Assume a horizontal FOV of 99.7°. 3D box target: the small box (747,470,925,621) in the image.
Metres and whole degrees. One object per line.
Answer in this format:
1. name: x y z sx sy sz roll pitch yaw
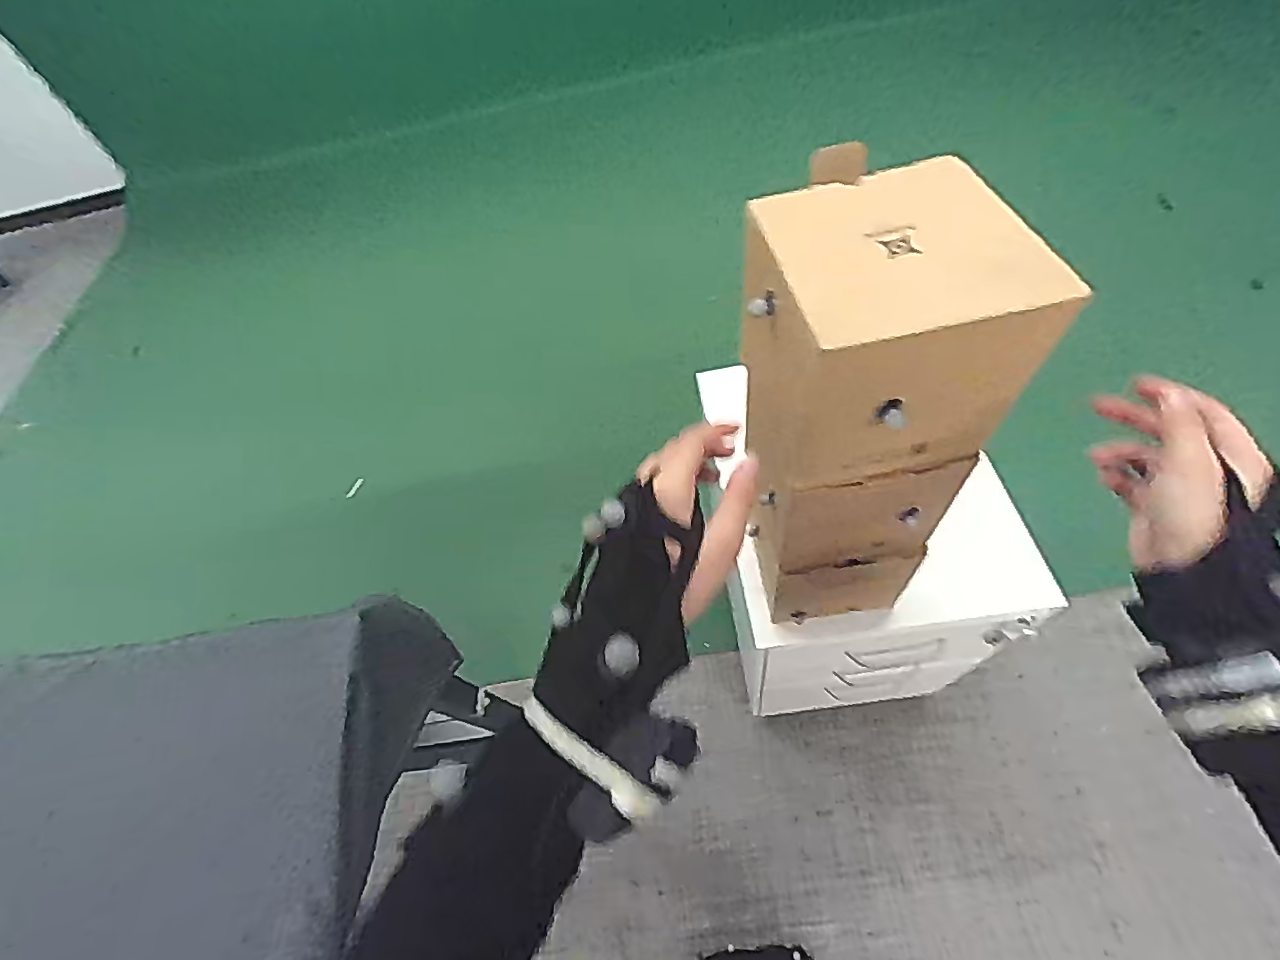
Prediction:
1. small box: 0.236 0.073 0.702 0.168 0.176 0.179 -8 55 4

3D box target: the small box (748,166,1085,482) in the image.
1. small box: 0.190 -0.114 0.440 0.168 0.176 0.179 -11 56 1

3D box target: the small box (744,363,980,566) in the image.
1. small box: 0.211 -0.022 0.573 0.168 0.176 0.179 -10 55 1
